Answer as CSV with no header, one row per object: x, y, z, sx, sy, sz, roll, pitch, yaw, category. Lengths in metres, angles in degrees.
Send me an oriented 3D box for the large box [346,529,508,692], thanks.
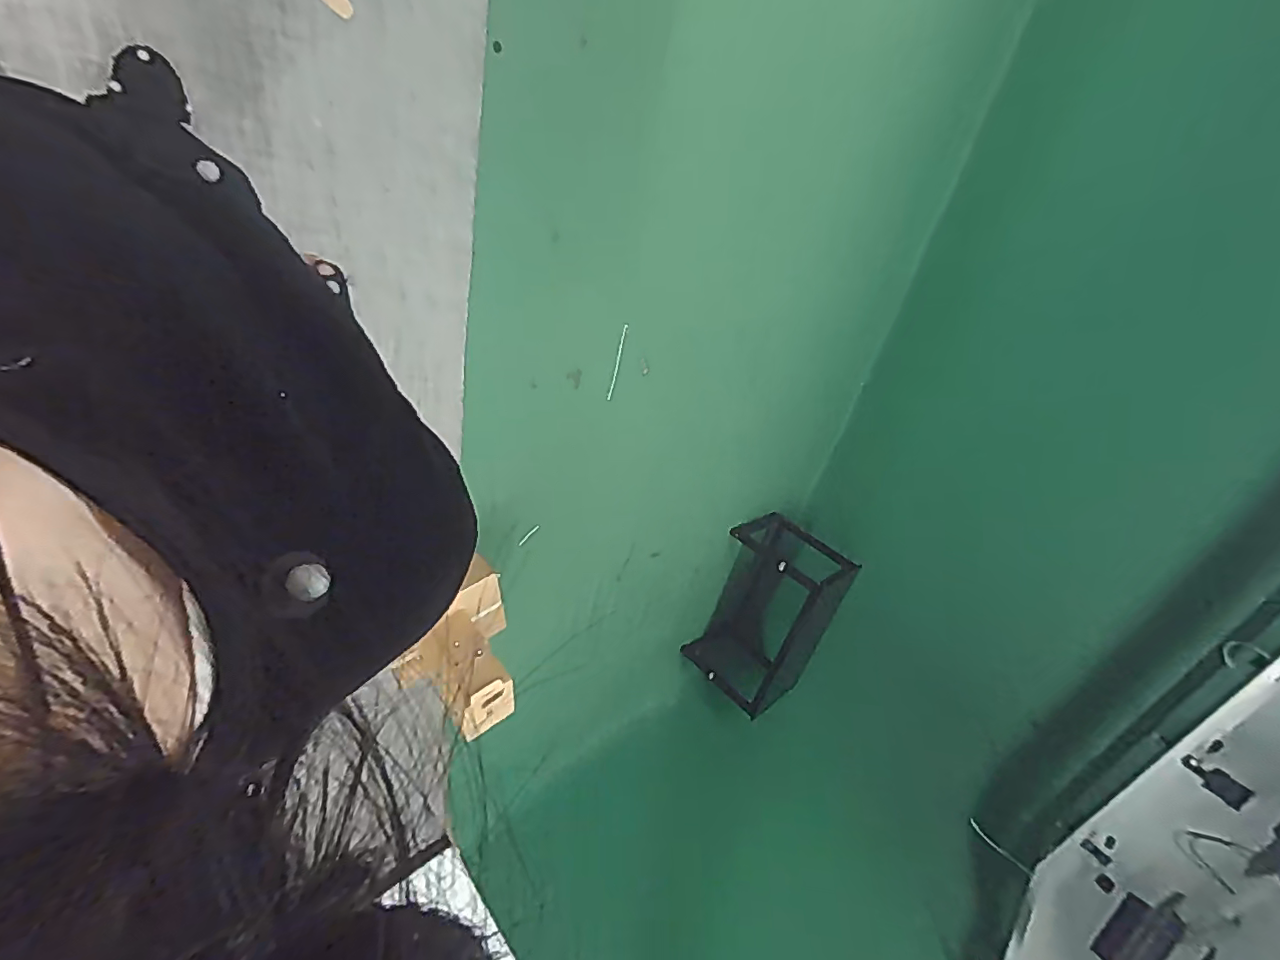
-0.734,0.444,1.904,0.408,0.320,0.320,-29,140,-33,large box

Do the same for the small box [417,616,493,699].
-0.592,0.575,1.751,0.179,0.176,0.168,-25,135,-34,small box

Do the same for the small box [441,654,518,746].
-0.491,0.661,1.654,0.168,0.176,0.179,-24,134,-36,small box
